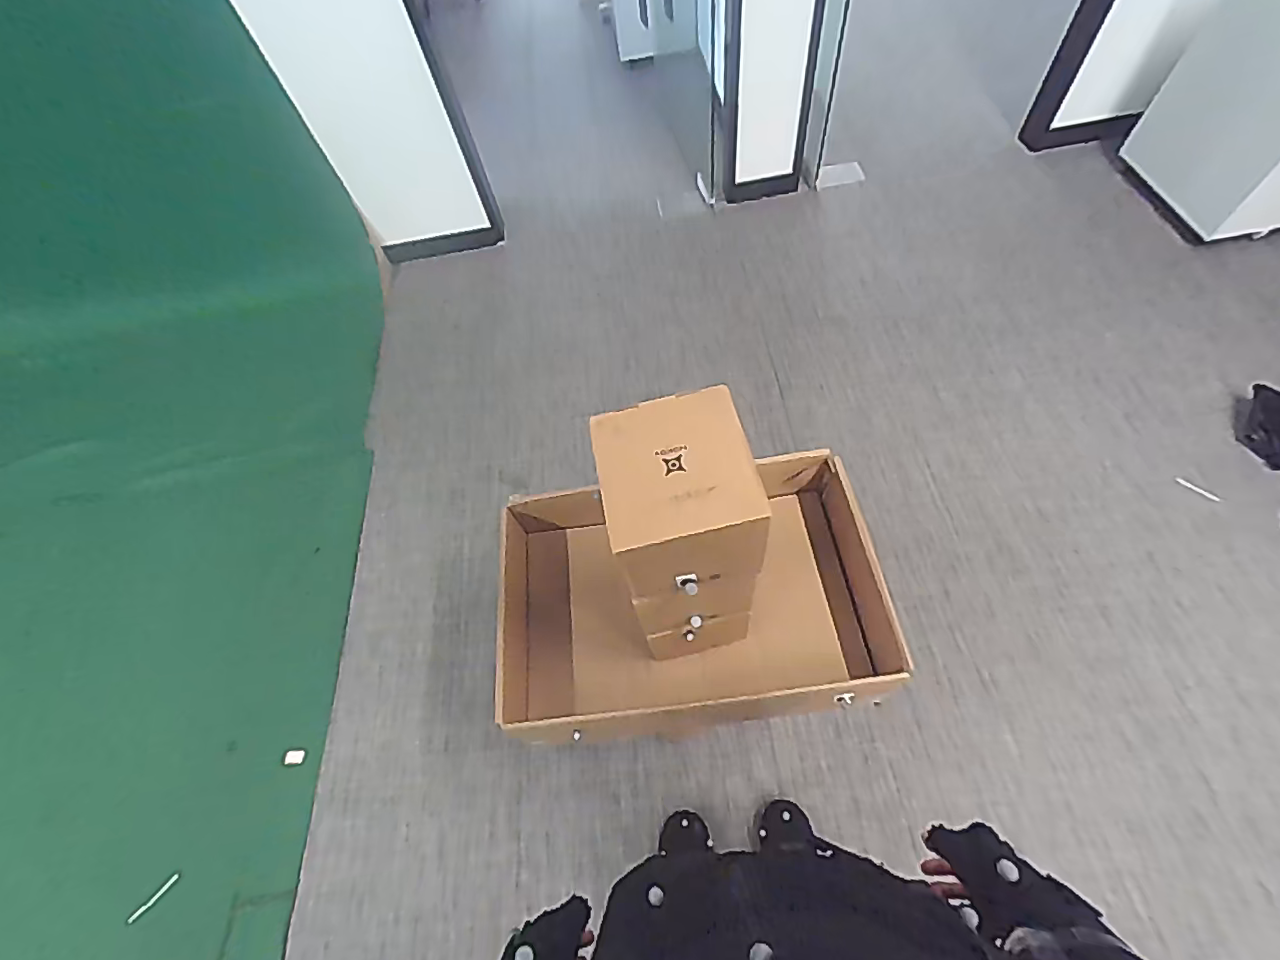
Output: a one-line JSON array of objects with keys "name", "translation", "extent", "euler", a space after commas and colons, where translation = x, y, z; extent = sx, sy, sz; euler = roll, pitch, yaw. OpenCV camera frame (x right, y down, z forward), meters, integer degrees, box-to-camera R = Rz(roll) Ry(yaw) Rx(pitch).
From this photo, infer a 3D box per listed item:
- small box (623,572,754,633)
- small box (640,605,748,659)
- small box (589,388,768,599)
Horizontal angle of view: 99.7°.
[{"name": "small box", "translation": [0.058, 0.103, 0.790], "extent": [0.168, 0.176, 0.179], "euler": [-14, 60, 1]}, {"name": "small box", "translation": [0.077, 0.188, 0.929], "extent": [0.168, 0.176, 0.179], "euler": [-15, 58, 1]}, {"name": "small box", "translation": [0.044, 0.023, 0.650], "extent": [0.168, 0.176, 0.179], "euler": [-14, 60, 2]}]
